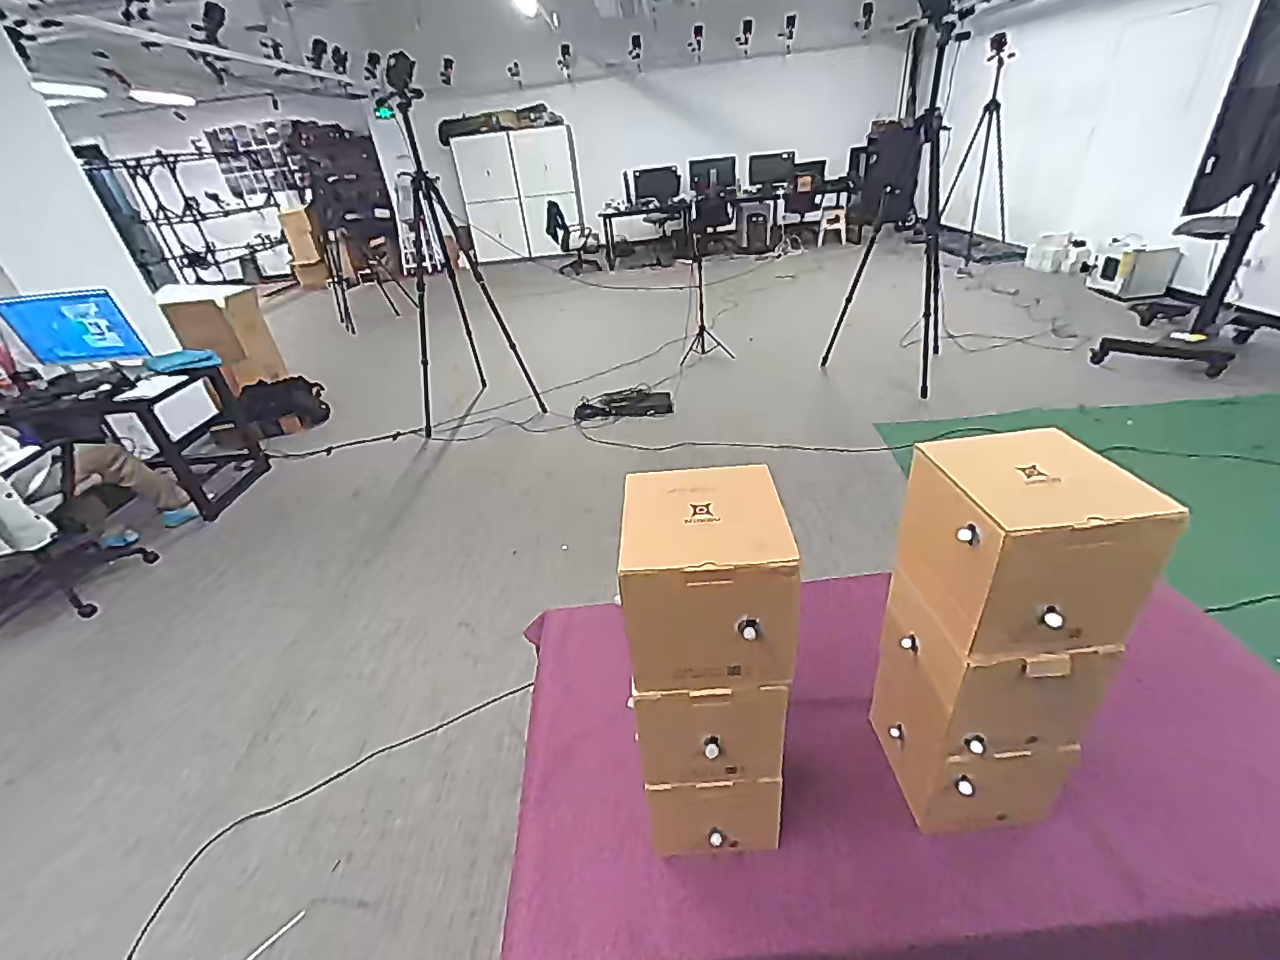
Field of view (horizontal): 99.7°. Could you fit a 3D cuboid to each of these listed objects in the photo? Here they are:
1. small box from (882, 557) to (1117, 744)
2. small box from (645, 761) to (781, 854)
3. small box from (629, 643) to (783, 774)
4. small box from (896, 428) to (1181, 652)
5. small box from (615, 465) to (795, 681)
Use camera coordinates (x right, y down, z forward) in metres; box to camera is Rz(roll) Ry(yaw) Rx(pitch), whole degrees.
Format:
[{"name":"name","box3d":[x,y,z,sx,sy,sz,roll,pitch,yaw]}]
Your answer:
[{"name":"small box","box3d":[0.422,0.205,0.672,0.168,0.176,0.179,-7,30,1]},{"name":"small box","box3d":[0.094,0.385,0.759,0.168,0.176,0.179,-6,31,2]},{"name":"small box","box3d":[0.077,0.244,0.676,0.168,0.176,0.179,-5,32,2]},{"name":"small box","box3d":[0.407,0.061,0.596,0.168,0.176,0.179,-7,32,0]},{"name":"small box","box3d":[0.069,0.102,0.594,0.168,0.176,0.179,-4,31,4]}]
